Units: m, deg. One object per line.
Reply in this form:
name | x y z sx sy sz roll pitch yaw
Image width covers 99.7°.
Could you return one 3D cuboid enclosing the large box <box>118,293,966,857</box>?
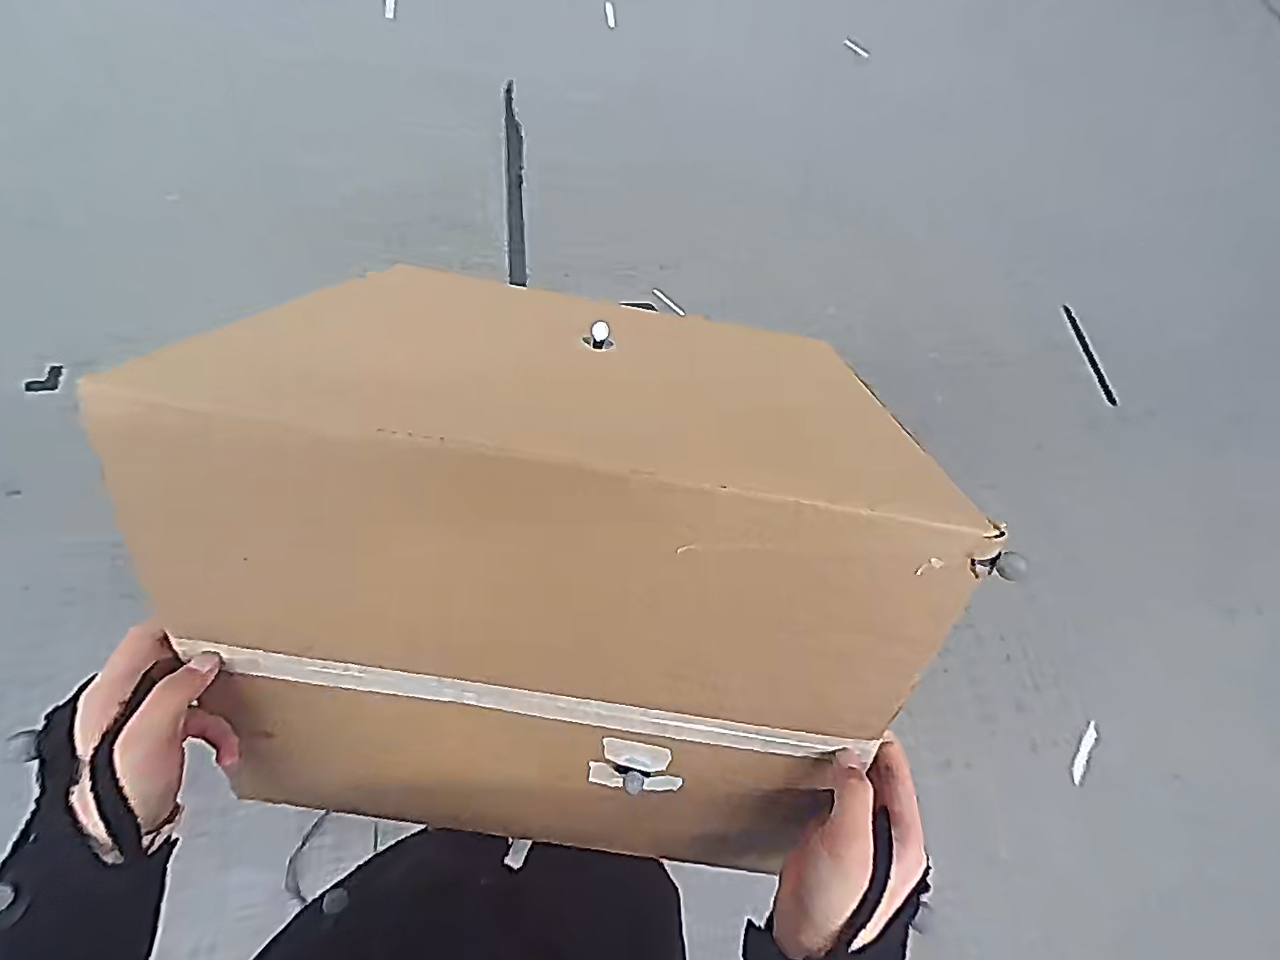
large box | -0.057 0.051 0.450 0.408 0.320 0.320 8 31 -2
